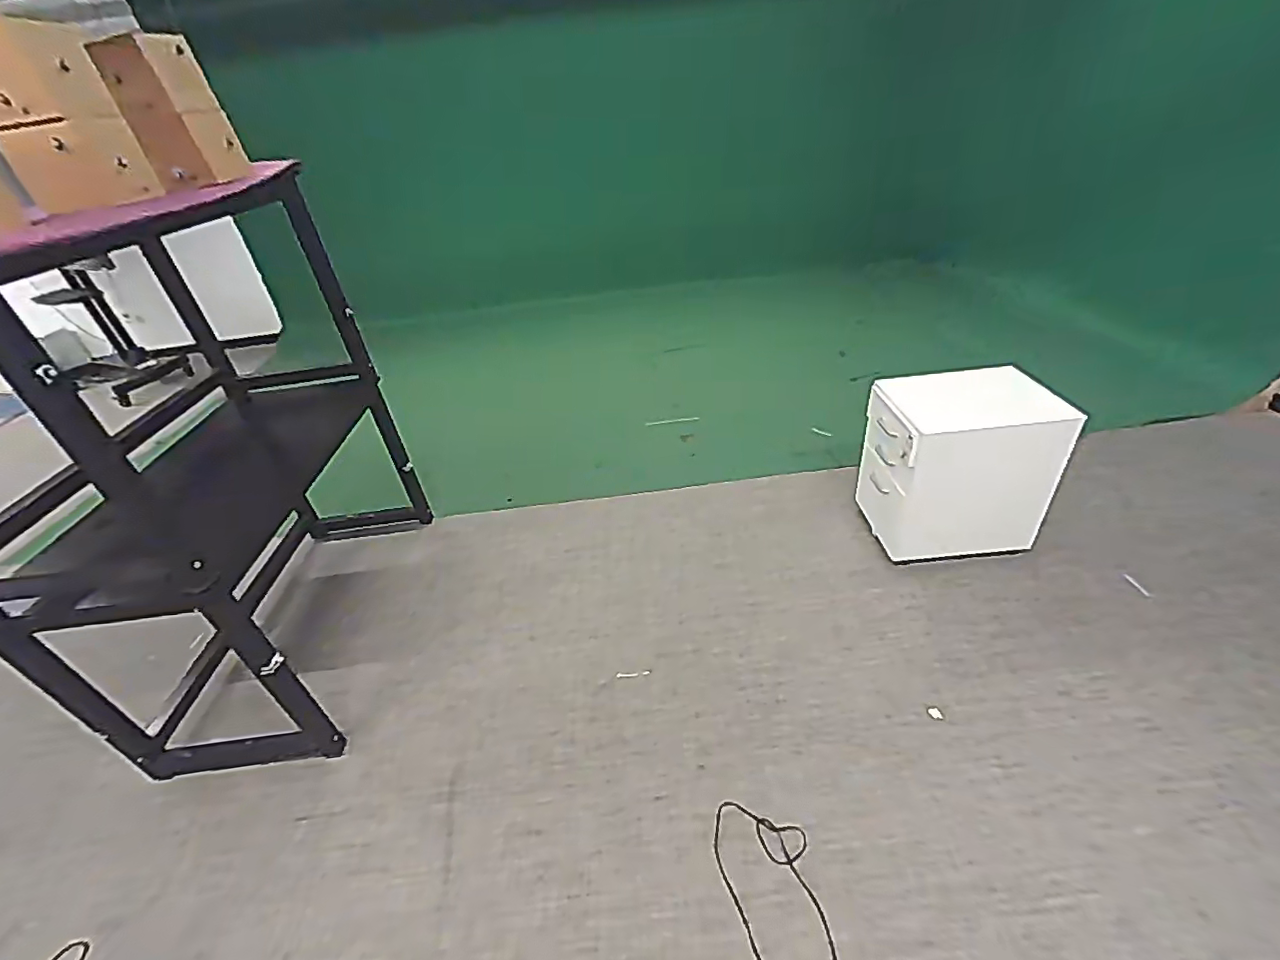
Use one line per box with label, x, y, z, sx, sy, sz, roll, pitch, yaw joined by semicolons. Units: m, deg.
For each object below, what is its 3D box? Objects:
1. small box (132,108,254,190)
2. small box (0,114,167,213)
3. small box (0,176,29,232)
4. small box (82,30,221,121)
small box;-1.232;-0.925;1.513;0.168;0.176;0.179;-7;38;6
small box;-1.249;-0.720;1.229;0.179;0.176;0.168;-7;34;1
small box;-1.198;-0.485;0.889;0.168;0.176;0.179;-9;35;-5
small box;-1.262;-1.051;1.415;0.168;0.176;0.179;-5;36;9
